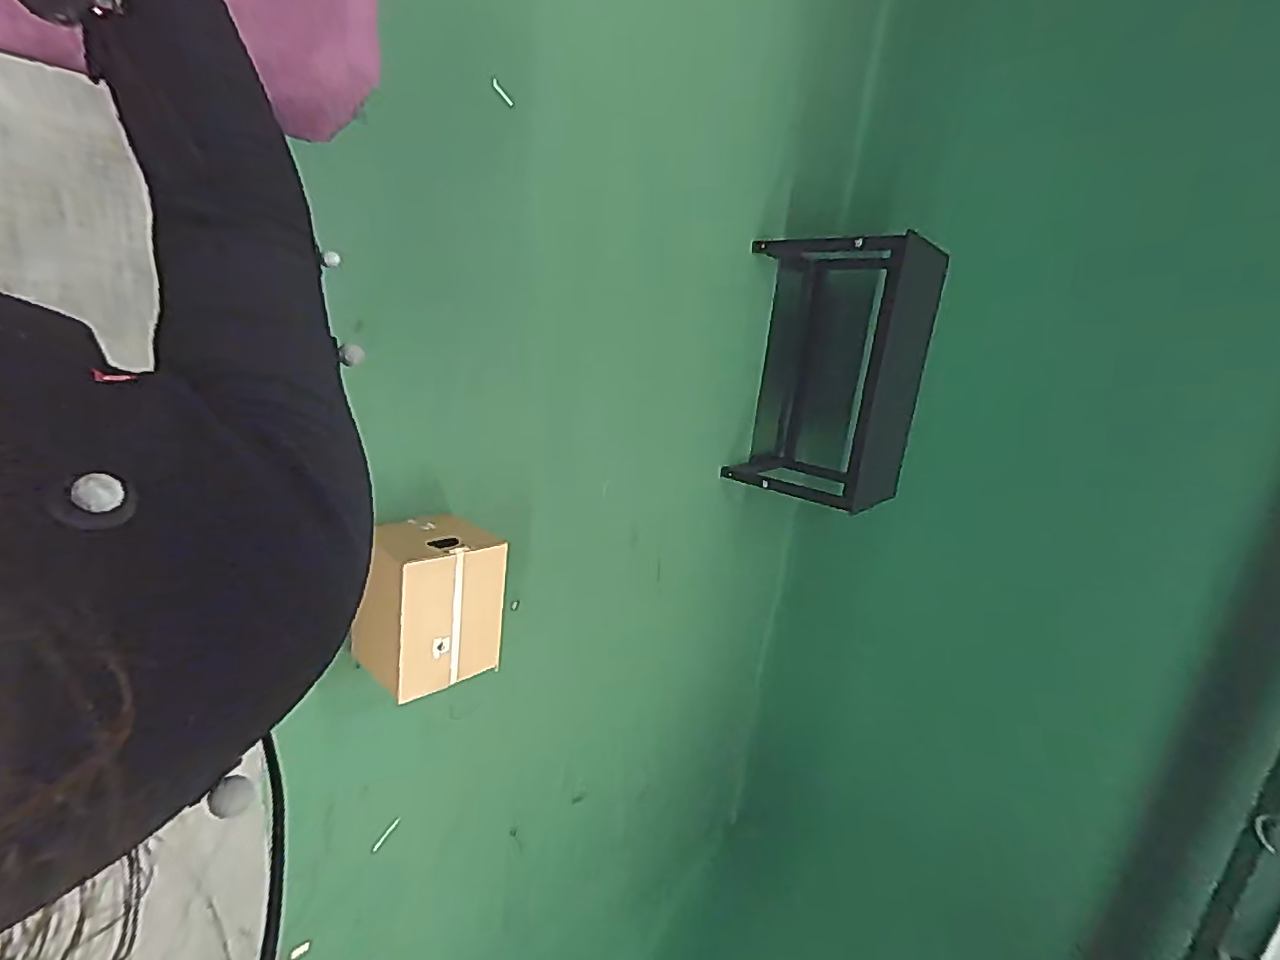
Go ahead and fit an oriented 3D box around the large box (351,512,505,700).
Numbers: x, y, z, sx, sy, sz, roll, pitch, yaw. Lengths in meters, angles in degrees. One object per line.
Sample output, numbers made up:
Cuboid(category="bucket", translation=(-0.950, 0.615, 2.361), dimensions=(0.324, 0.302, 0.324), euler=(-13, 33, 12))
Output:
Cuboid(category="large box", translation=(-0.625, 0.341, 1.580), dimensions=(0.320, 0.320, 0.408), euler=(-7, 110, -48))
